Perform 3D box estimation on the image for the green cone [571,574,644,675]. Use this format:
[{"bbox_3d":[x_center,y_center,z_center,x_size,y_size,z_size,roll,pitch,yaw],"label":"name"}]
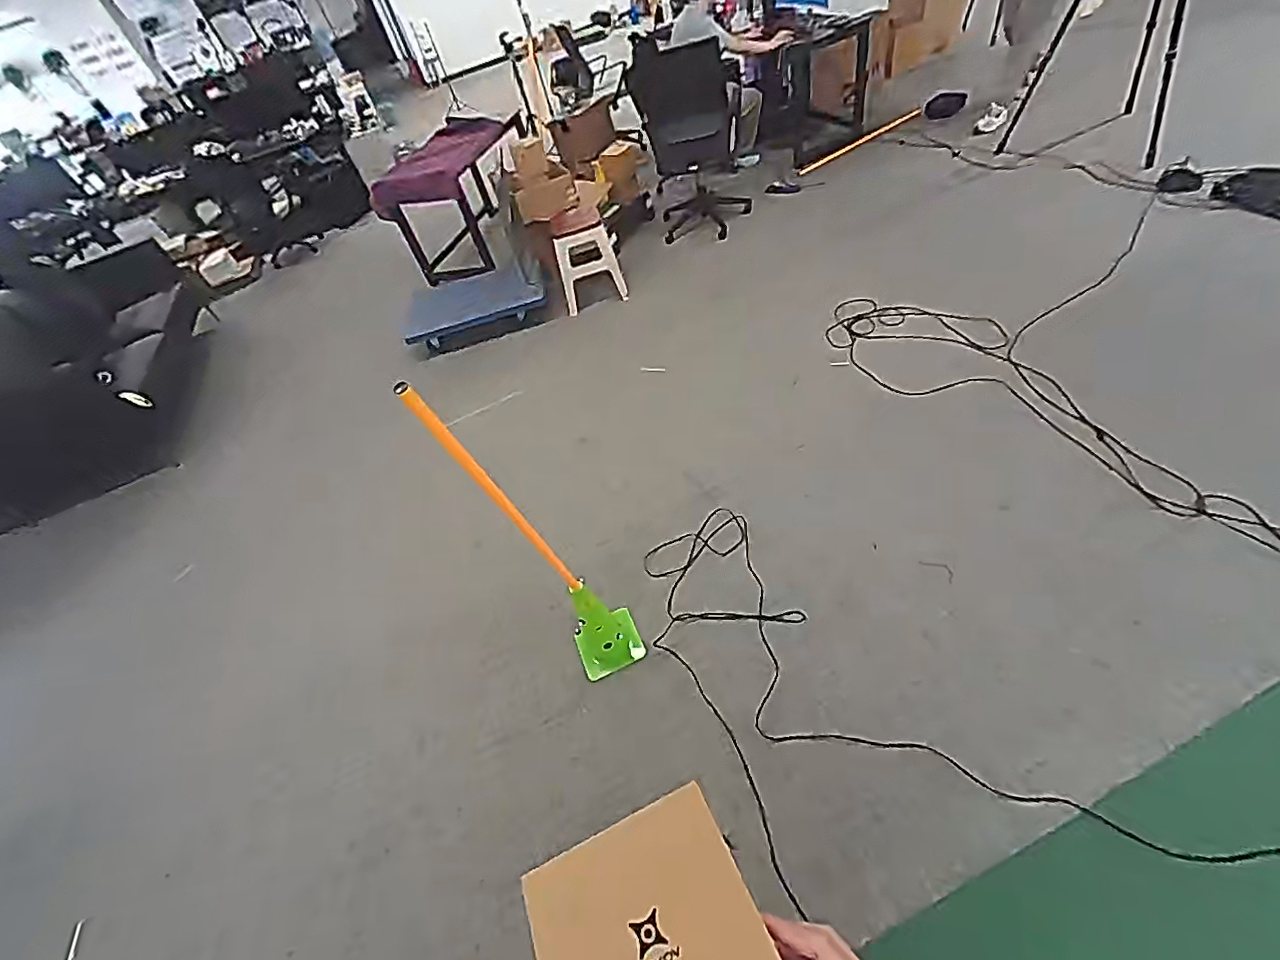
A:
[{"bbox_3d":[-0.141,0.401,1.632,0.202,0.368,0.200,-24,47,-7],"label":"green cone"}]
